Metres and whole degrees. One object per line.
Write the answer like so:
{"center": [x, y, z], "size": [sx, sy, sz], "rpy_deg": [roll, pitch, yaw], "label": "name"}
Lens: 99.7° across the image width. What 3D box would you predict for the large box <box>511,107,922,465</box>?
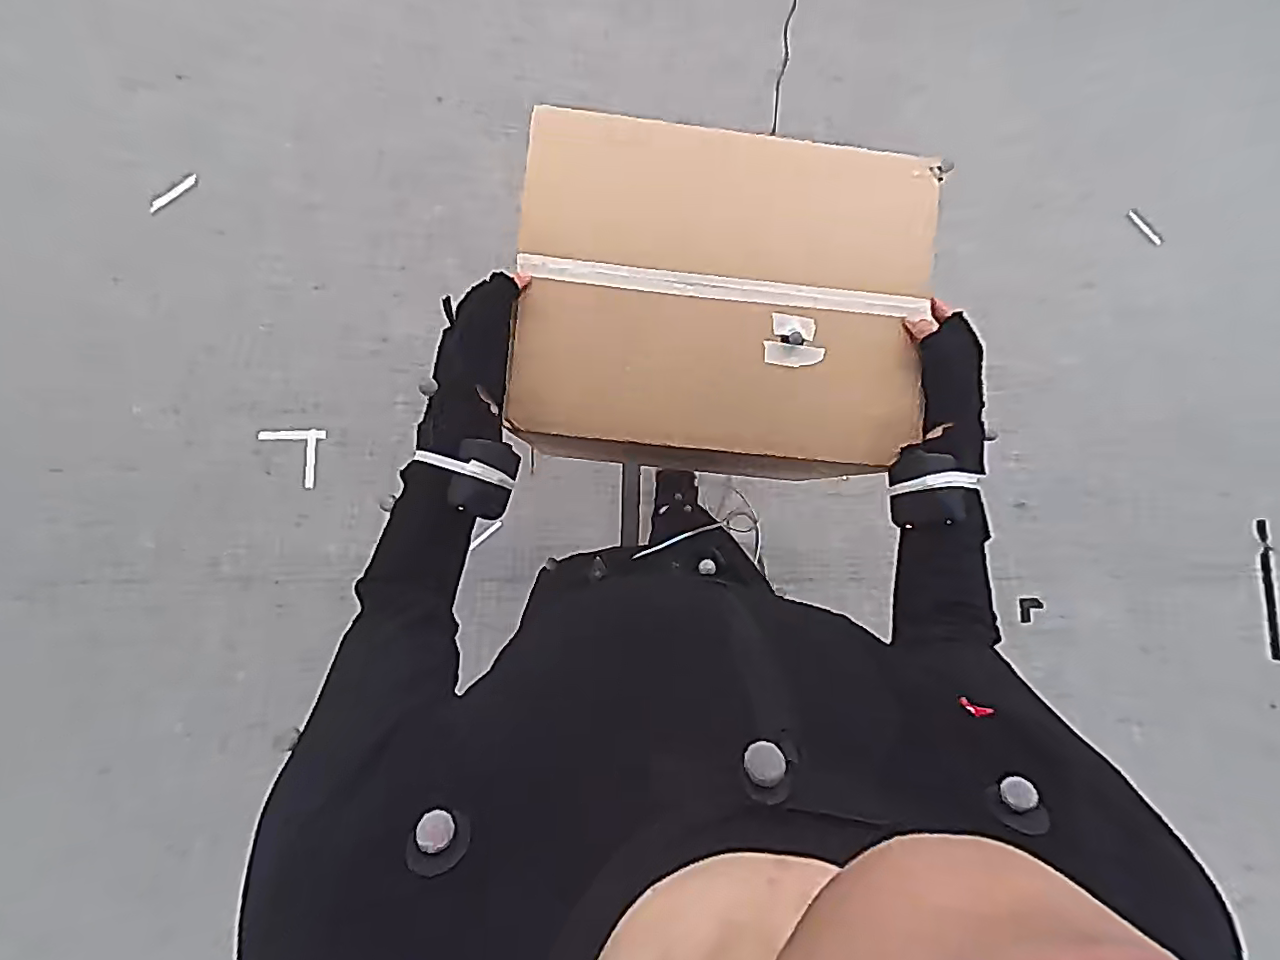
{"center": [0.070, -0.195, 0.687], "size": [0.408, 0.320, 0.320], "rpy_deg": [6, 89, -4], "label": "large box"}
